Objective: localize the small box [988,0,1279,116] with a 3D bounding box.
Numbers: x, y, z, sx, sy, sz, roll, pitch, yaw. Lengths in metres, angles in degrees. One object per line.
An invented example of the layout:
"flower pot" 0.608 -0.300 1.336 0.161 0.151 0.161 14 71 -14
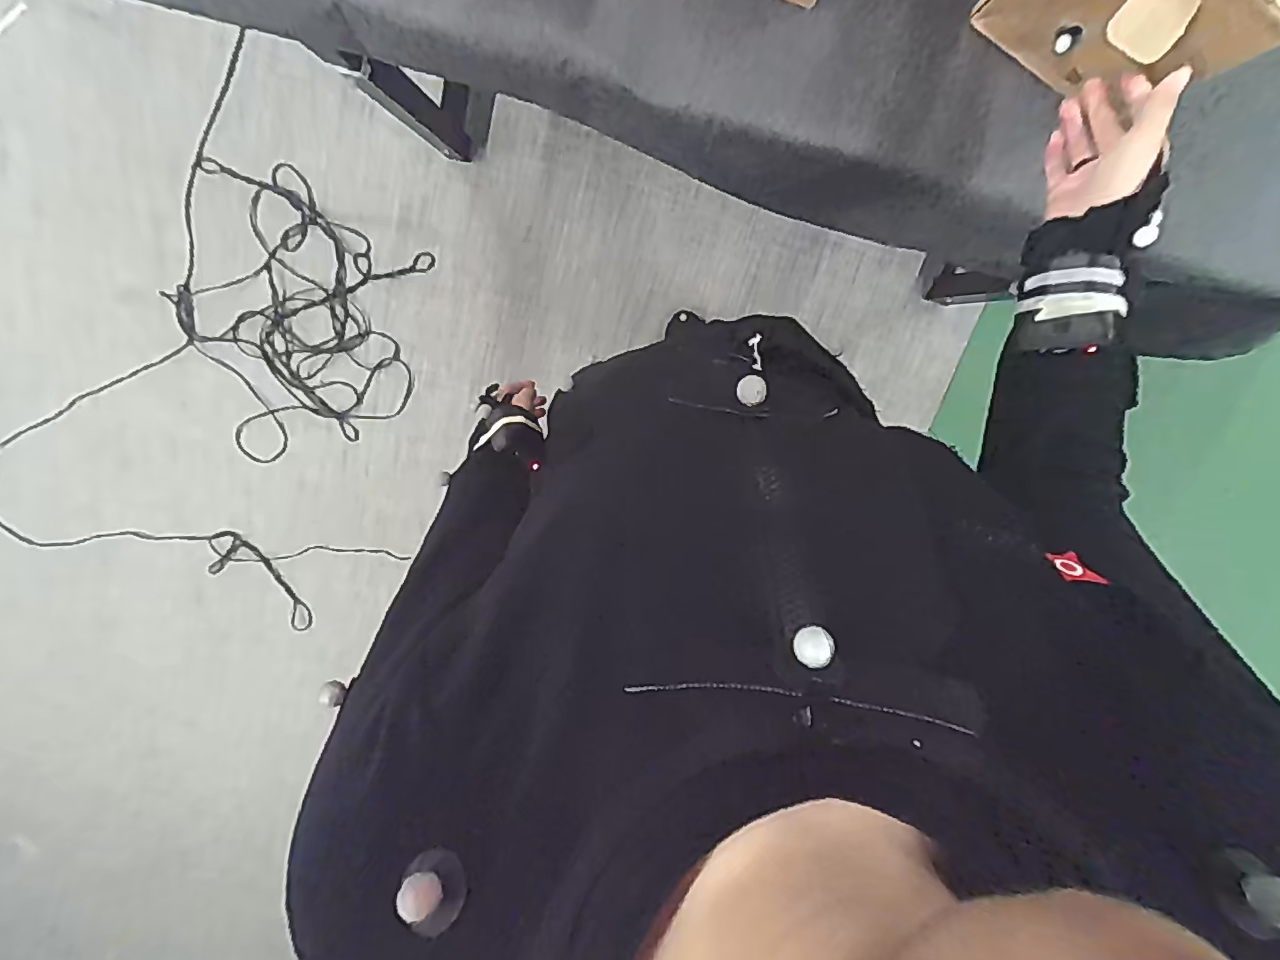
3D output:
"small box" 0.409 -0.420 0.393 0.168 0.176 0.179 30 105 -7
